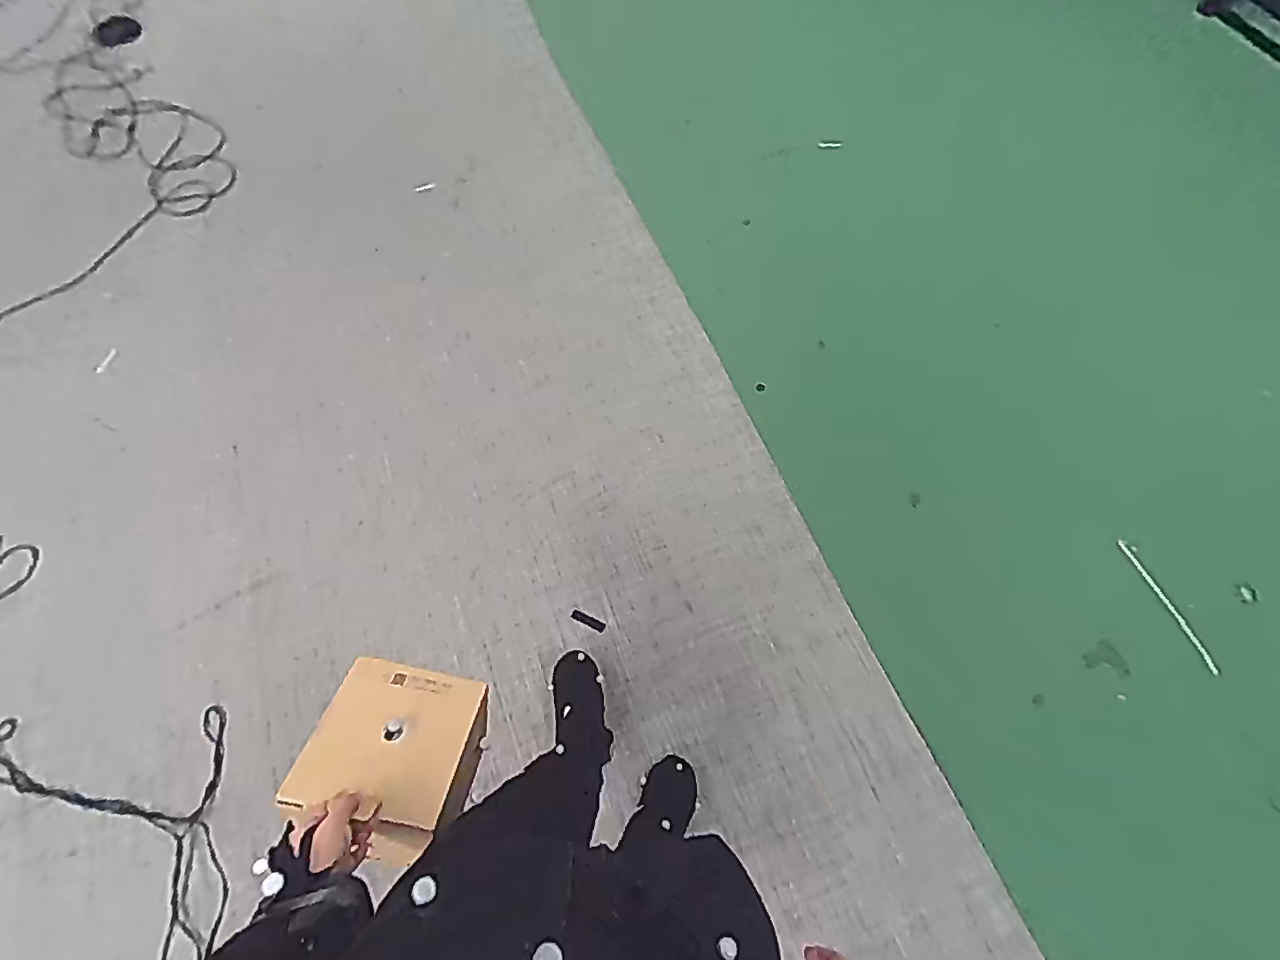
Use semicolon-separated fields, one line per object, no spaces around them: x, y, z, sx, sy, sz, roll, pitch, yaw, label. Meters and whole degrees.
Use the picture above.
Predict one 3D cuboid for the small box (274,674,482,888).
-0.300;0.363;0.661;0.168;0.179;0.176;12;39;-3;small box
